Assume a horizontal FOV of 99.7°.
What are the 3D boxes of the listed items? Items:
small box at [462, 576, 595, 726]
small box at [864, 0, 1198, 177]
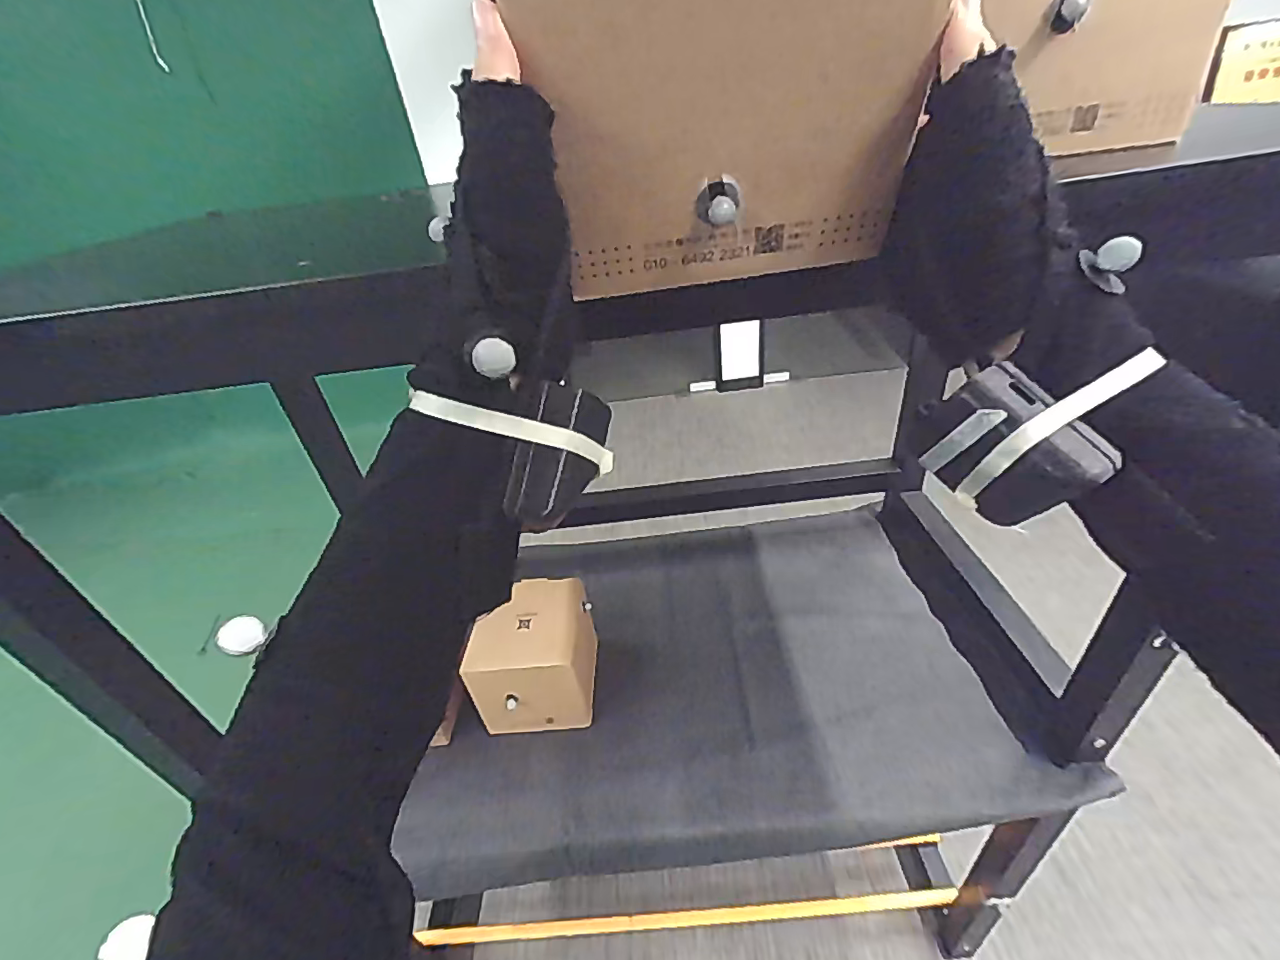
[{"bbox_3d":[-0.171,0.286,0.895,0.168,0.176,0.179,-5,34,3],"label":"small box"},{"bbox_3d":[0.273,-0.334,0.404,0.168,0.176,0.179,0,34,12],"label":"small box"}]
